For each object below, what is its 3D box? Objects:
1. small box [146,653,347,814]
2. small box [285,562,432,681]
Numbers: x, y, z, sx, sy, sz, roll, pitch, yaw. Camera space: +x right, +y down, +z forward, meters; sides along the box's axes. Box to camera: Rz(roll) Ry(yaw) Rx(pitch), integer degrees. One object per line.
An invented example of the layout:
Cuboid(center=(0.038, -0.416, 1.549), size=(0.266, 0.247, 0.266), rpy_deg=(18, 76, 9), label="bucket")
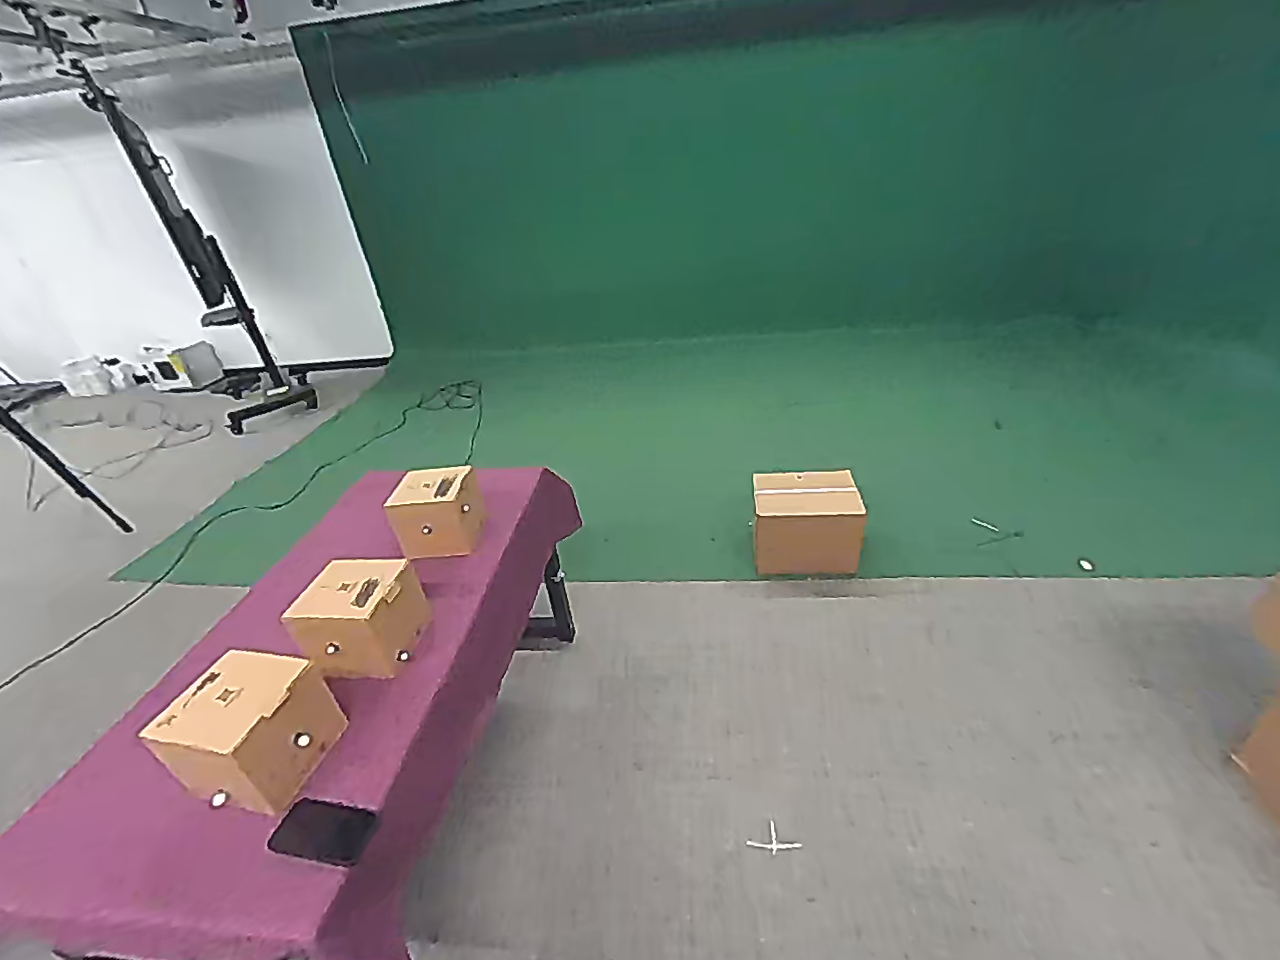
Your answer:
Cuboid(center=(-0.625, 0.414, 0.886), size=(0.179, 0.176, 0.168), rpy_deg=(2, 32, 15), label="small box")
Cuboid(center=(-0.548, 0.283, 1.084), size=(0.179, 0.176, 0.168), rpy_deg=(-3, 31, 9), label="small box")
